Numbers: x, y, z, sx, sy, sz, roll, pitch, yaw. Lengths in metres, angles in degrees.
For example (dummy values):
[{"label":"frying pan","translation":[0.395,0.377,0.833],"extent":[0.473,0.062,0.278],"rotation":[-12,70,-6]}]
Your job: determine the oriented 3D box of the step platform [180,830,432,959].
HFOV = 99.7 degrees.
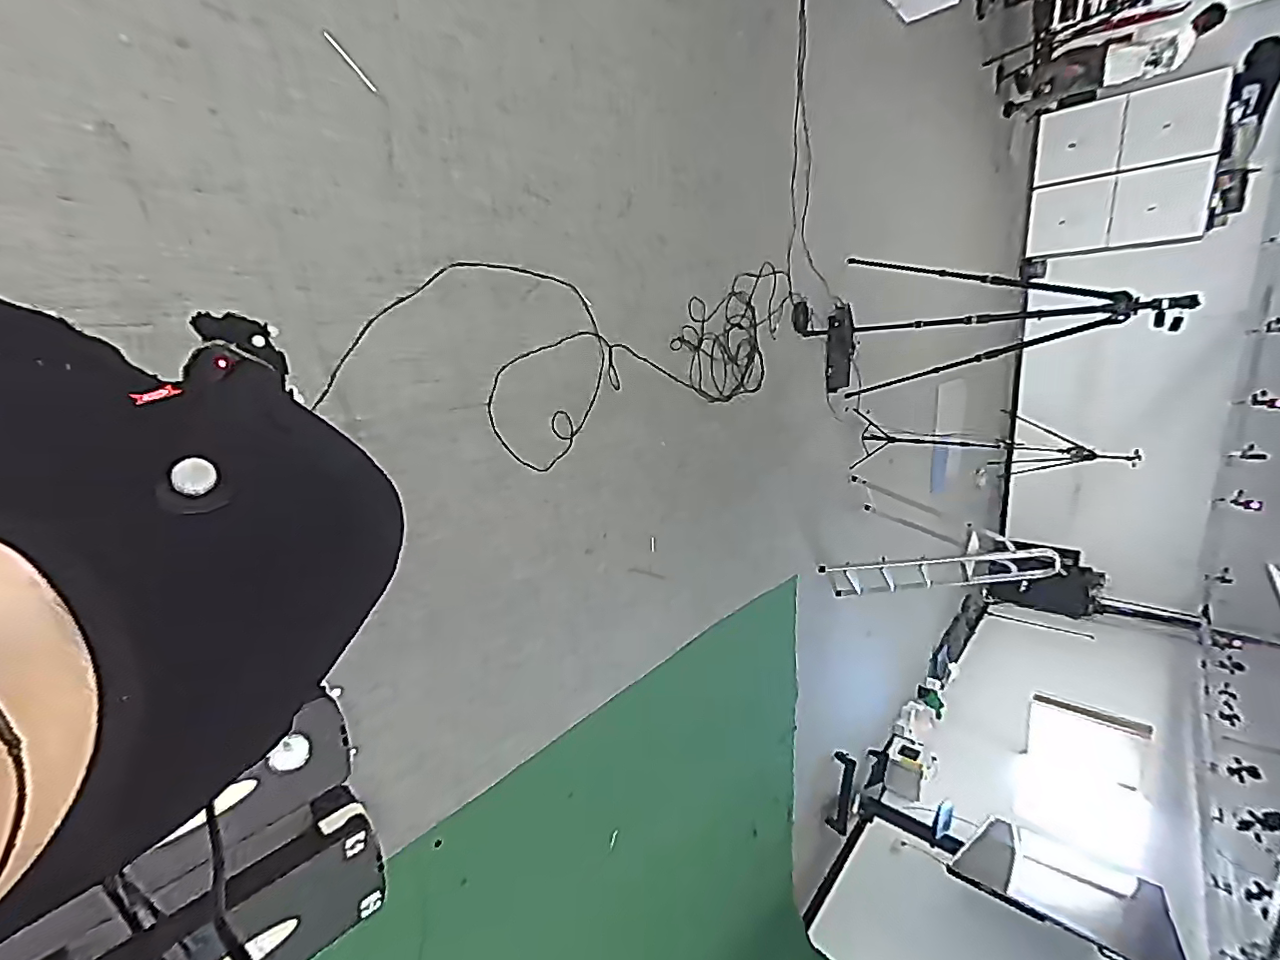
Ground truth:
[{"label":"step platform","translation":[-0.818,1.107,1.155],"extent":[0.684,0.204,0.286],"rotation":[-19,111,-46]}]
